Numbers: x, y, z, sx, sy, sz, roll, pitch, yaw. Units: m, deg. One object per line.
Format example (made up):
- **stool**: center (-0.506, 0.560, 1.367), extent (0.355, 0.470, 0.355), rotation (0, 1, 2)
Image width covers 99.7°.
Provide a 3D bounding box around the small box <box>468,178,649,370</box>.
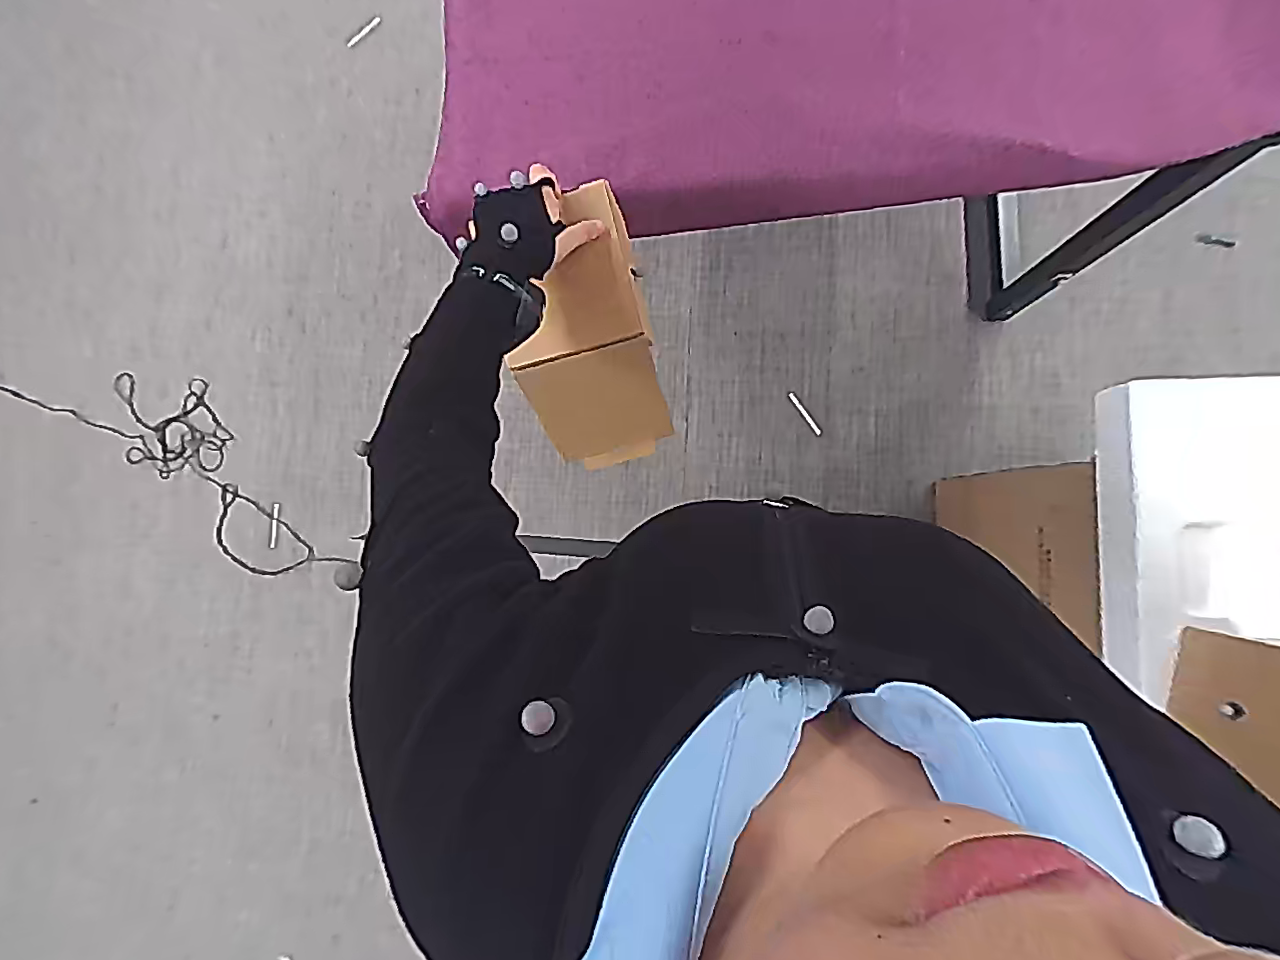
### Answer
- **small box**: center (-0.090, -0.245, 0.692), extent (0.168, 0.176, 0.179), rotation (-14, 98, 7)
